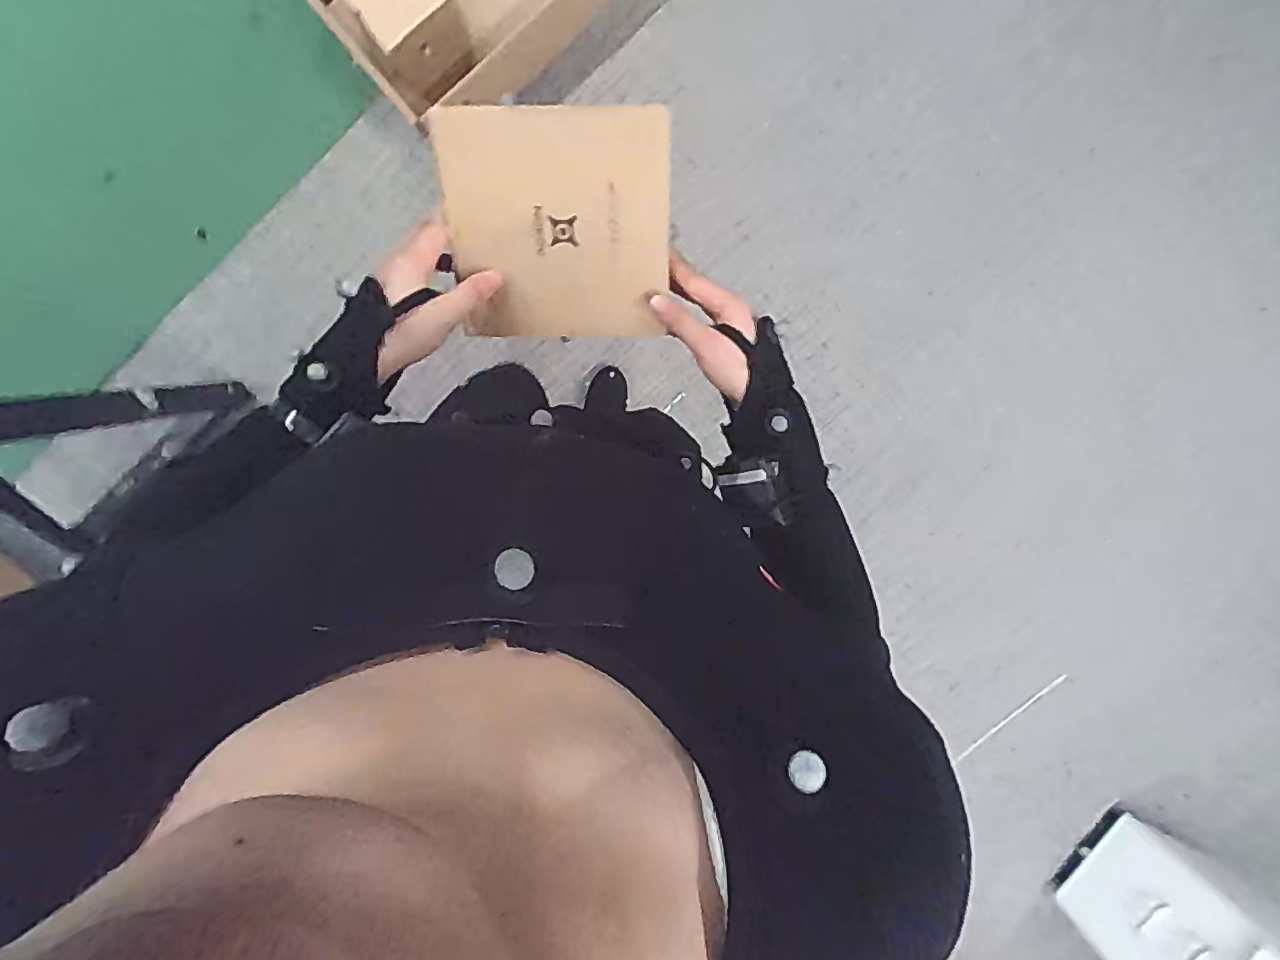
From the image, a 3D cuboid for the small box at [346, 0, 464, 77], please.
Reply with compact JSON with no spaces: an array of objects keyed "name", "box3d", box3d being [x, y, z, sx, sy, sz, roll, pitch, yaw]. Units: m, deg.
[{"name":"small box","box3d":[-0.485,-0.971,1.089,0.179,0.176,0.168,-38,105,5]}]
